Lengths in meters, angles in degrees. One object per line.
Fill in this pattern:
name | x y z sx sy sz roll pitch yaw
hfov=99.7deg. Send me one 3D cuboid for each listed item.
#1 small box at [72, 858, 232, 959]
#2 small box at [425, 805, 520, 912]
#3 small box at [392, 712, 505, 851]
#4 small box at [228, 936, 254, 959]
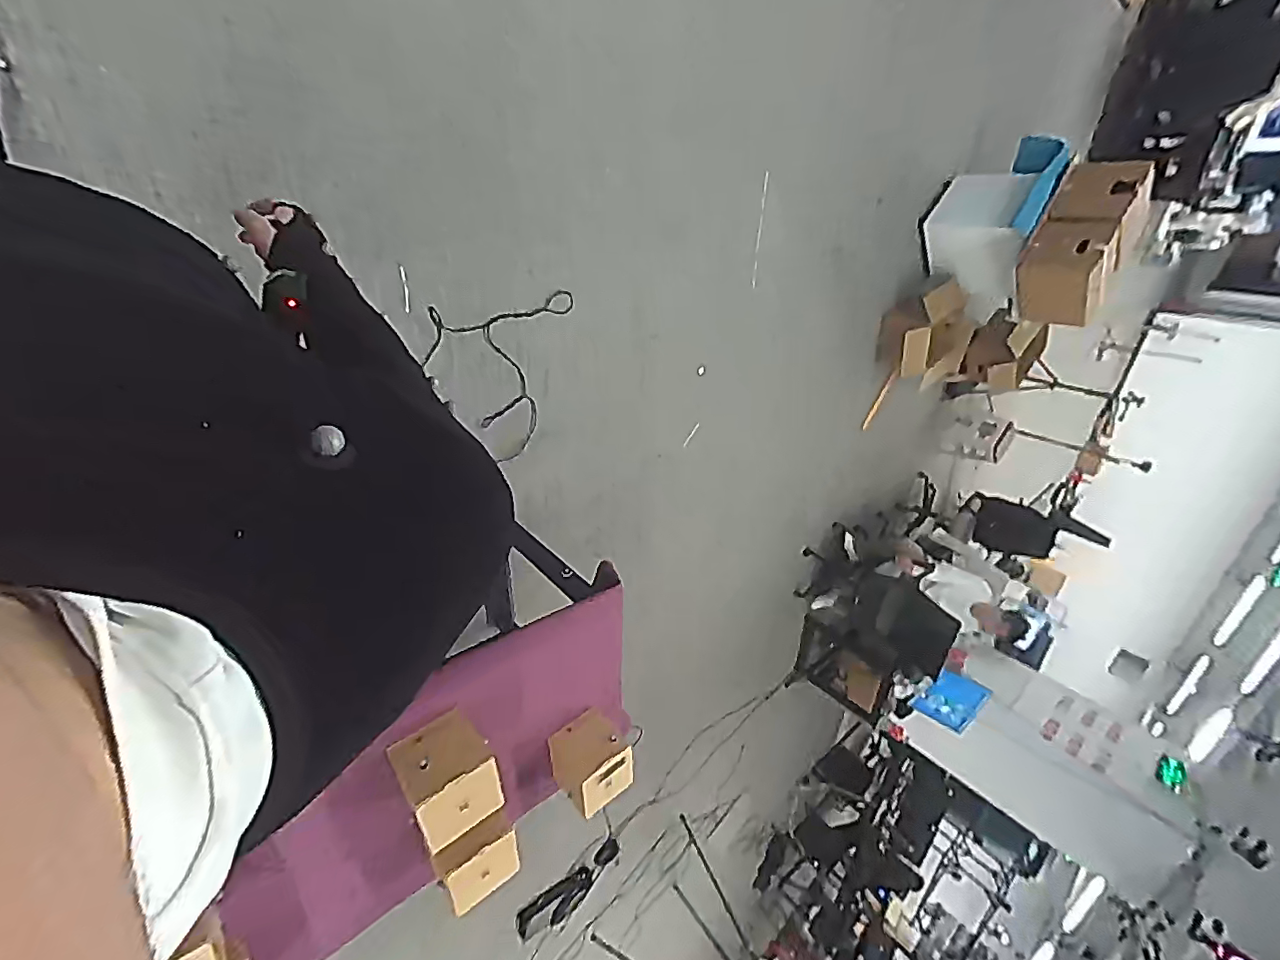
small box | -0.789 0.769 0.881 0.168 0.176 0.179 -15 123 -38
small box | -0.409 0.875 1.310 0.168 0.176 0.179 -21 124 -34
small box | -0.414 0.635 1.167 0.168 0.176 0.179 -23 128 -33
small box | -0.807 1.016 1.005 0.168 0.176 0.179 -15 122 -39
